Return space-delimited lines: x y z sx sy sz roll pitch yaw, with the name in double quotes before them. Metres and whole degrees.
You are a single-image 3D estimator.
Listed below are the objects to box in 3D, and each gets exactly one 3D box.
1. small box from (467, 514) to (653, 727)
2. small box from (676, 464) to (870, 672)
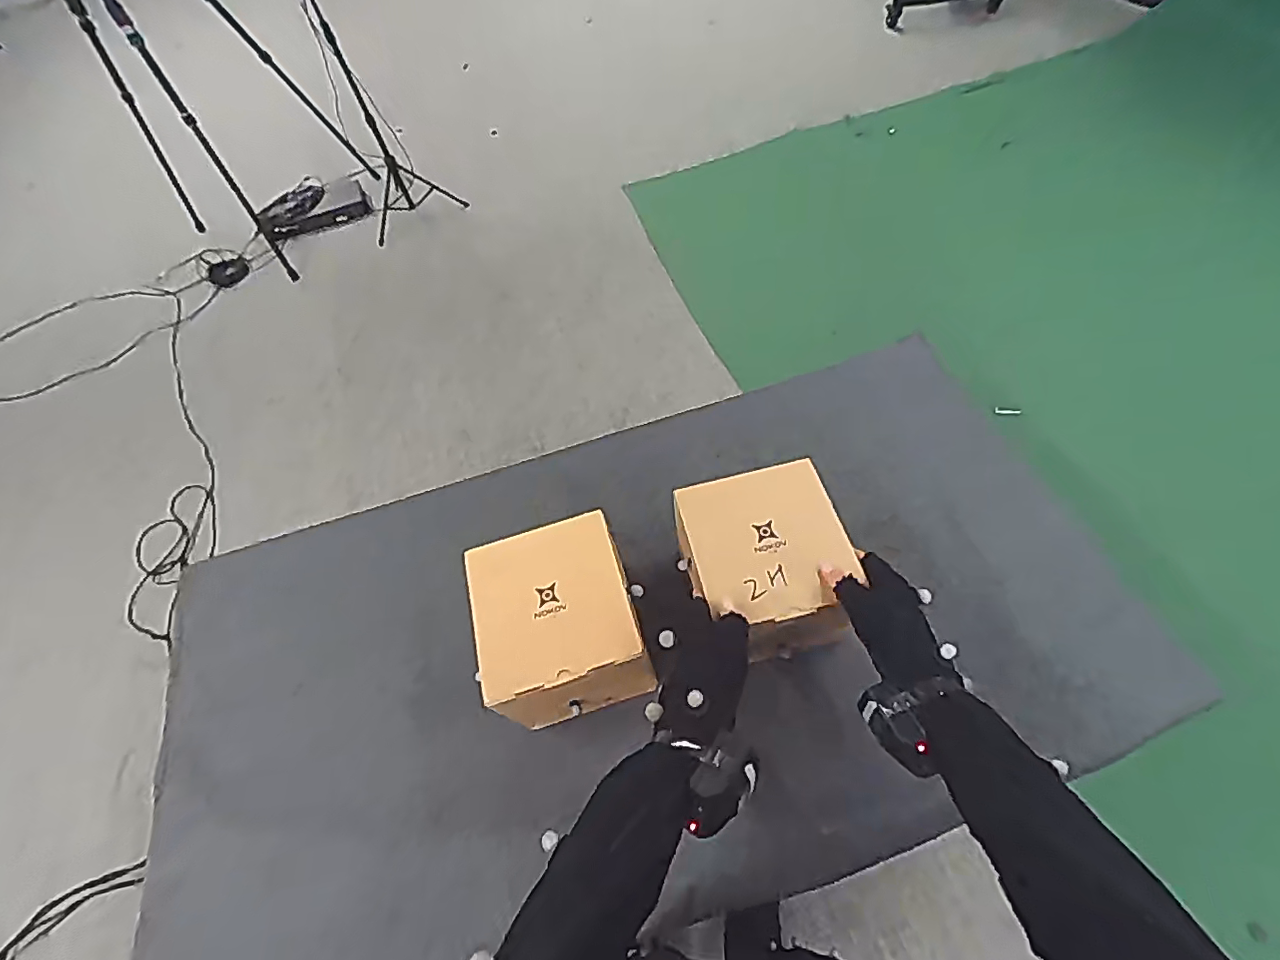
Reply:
"small box" -0.090 0.173 0.646 0.168 0.176 0.179 -18 58 -3
"small box" 0.142 0.110 0.652 0.168 0.176 0.179 -14 57 -2
